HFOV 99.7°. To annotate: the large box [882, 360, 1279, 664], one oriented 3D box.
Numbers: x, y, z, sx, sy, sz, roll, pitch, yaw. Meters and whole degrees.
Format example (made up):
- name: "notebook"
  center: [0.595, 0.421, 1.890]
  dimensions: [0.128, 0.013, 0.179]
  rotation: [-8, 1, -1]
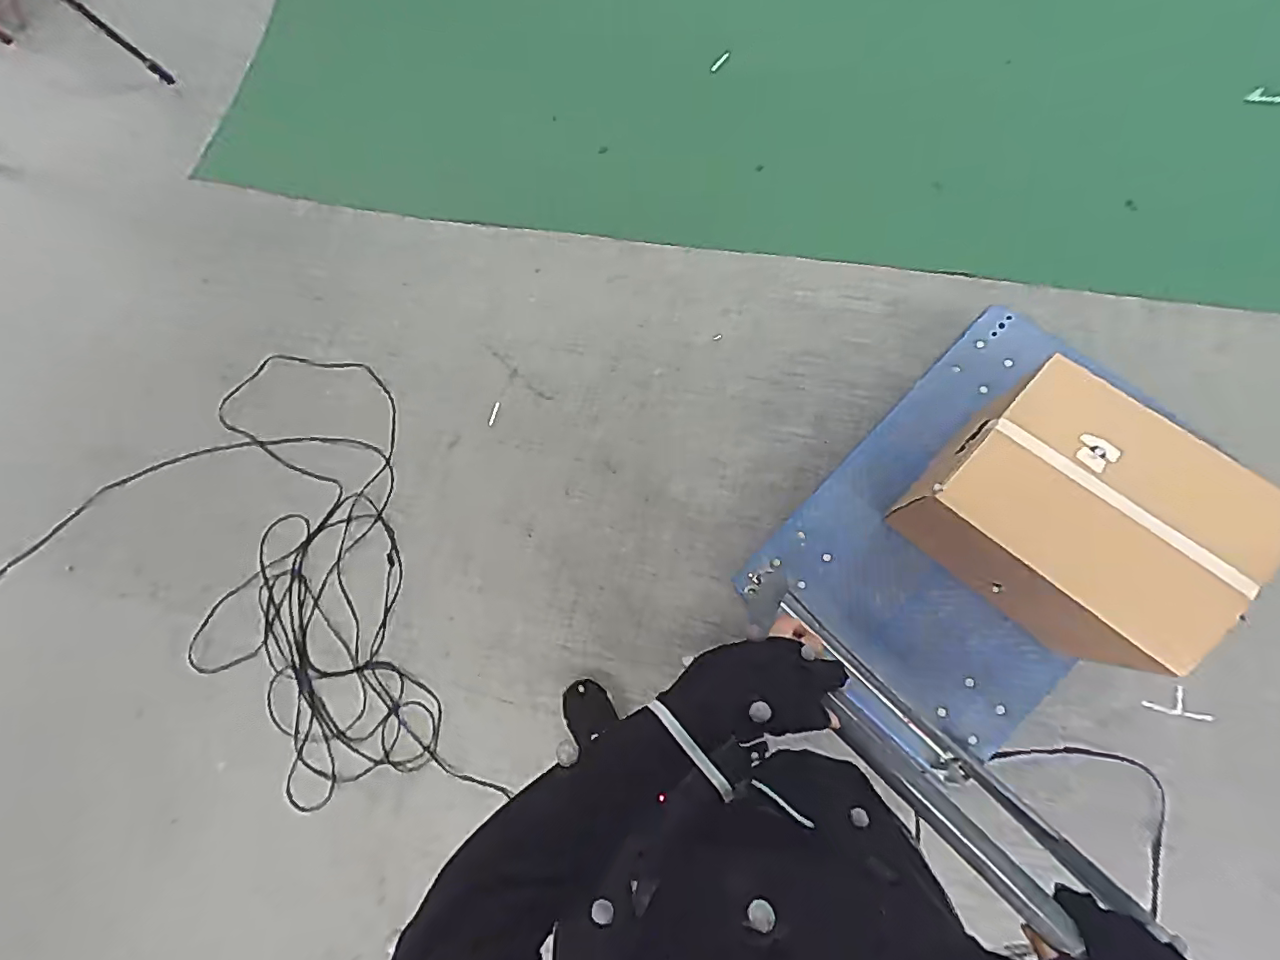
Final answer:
- name: "large box"
  center: [0.734, 0.064, 0.977]
  dimensions: [0.408, 0.320, 0.320]
  rotation: [40, 87, 16]
